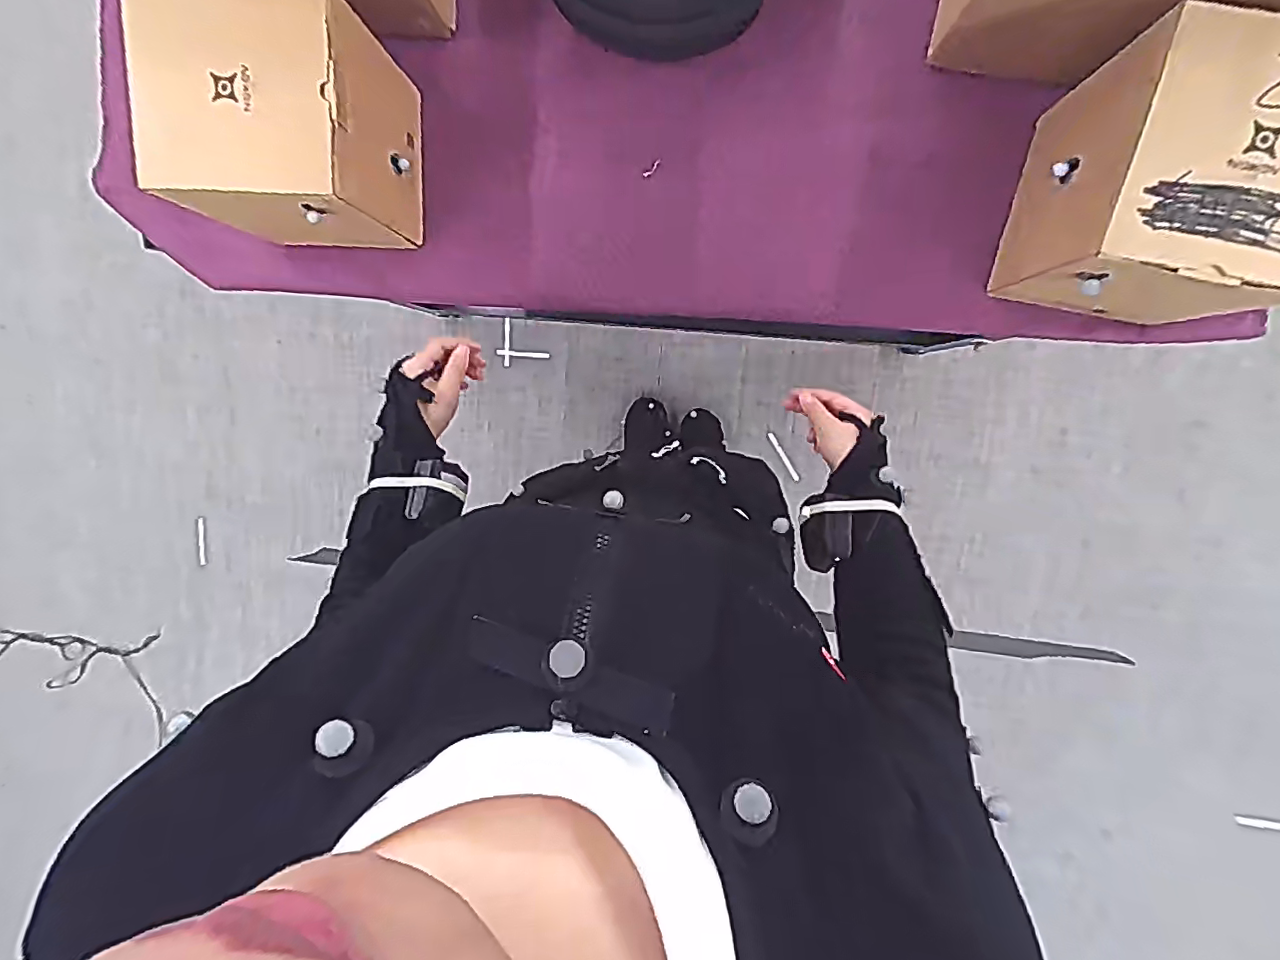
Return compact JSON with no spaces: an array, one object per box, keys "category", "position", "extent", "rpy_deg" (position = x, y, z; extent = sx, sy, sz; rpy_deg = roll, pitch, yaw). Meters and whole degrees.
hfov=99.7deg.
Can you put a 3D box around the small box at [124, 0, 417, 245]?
[{"category":"small box","position":[-0.343,-0.342,0.536],"extent":[0.179,0.176,0.168],"rpy_deg":[2,99,1]}]
